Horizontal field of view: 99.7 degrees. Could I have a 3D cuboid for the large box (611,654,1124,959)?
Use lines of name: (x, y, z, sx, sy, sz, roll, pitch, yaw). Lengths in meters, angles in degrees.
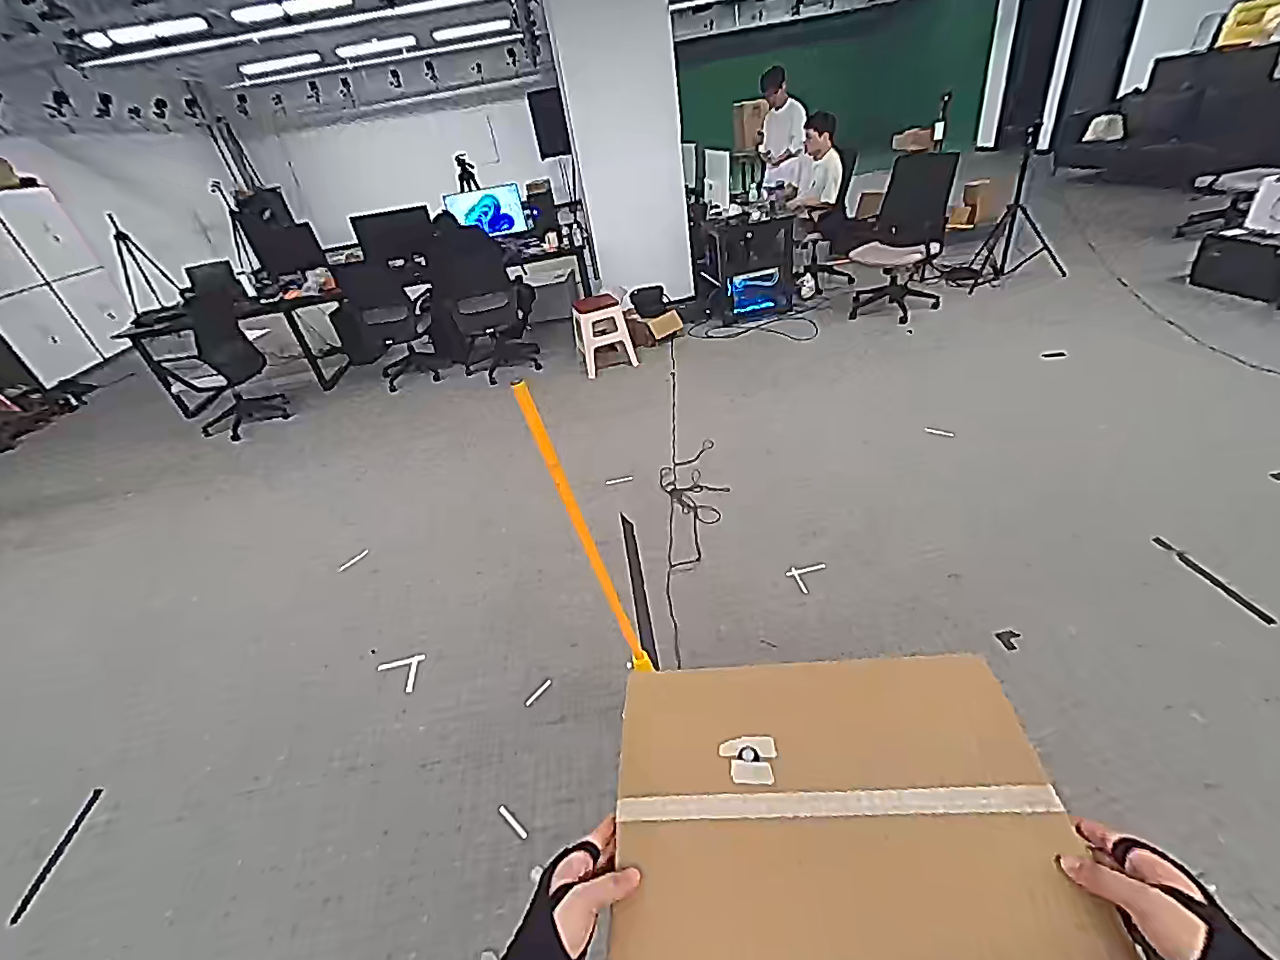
large box: (0.203, 0.433, 0.613, 0.408, 0.320, 0.320, -7, 36, 8)
